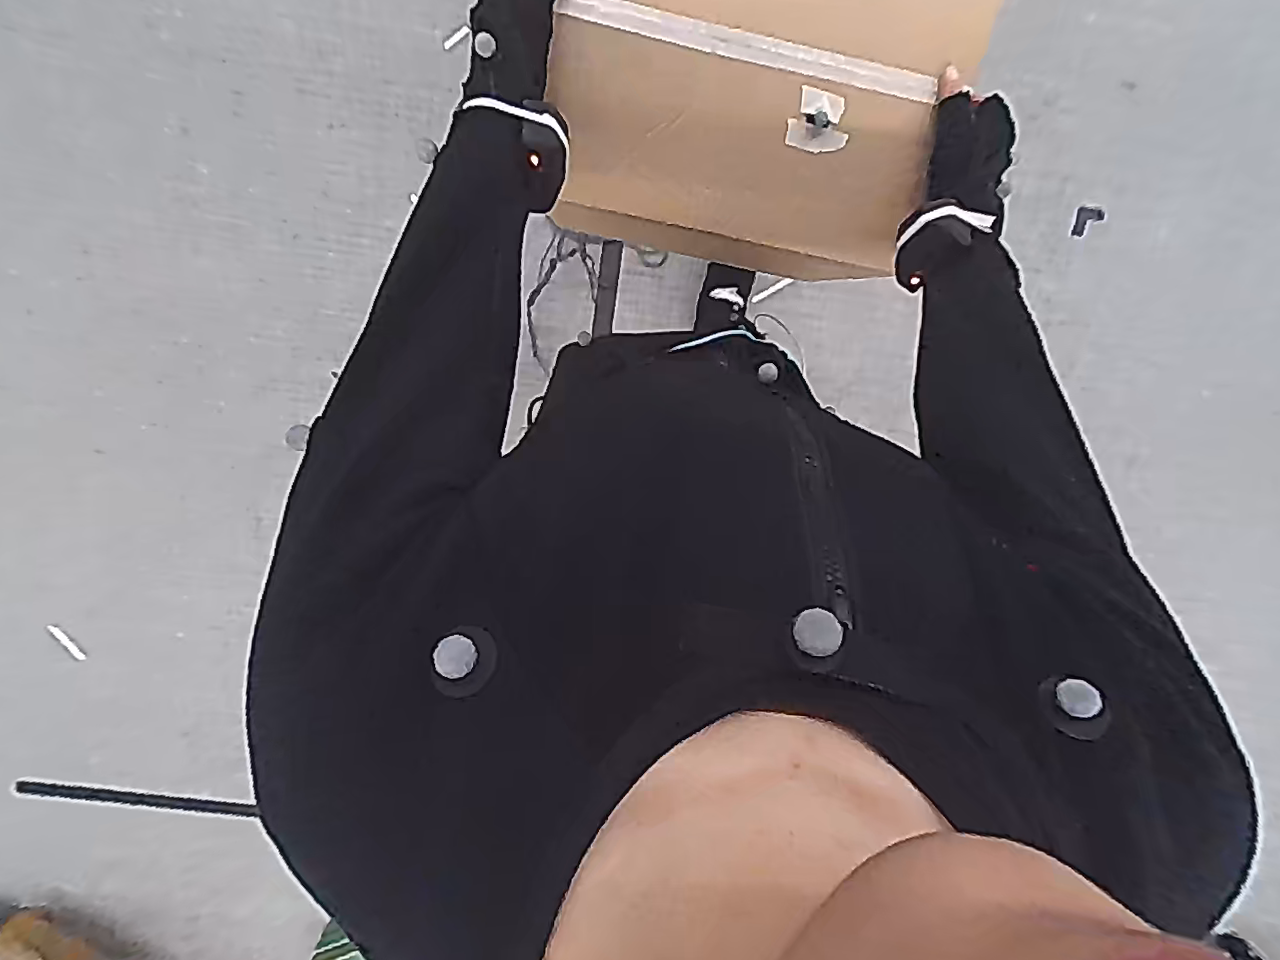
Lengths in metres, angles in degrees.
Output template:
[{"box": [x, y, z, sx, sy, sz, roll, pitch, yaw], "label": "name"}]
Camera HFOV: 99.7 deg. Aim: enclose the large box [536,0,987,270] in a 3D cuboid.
[{"box": [0.107, -0.454, 0.650, 0.408, 0.320, 0.320, 9, 110, -6], "label": "large box"}]
